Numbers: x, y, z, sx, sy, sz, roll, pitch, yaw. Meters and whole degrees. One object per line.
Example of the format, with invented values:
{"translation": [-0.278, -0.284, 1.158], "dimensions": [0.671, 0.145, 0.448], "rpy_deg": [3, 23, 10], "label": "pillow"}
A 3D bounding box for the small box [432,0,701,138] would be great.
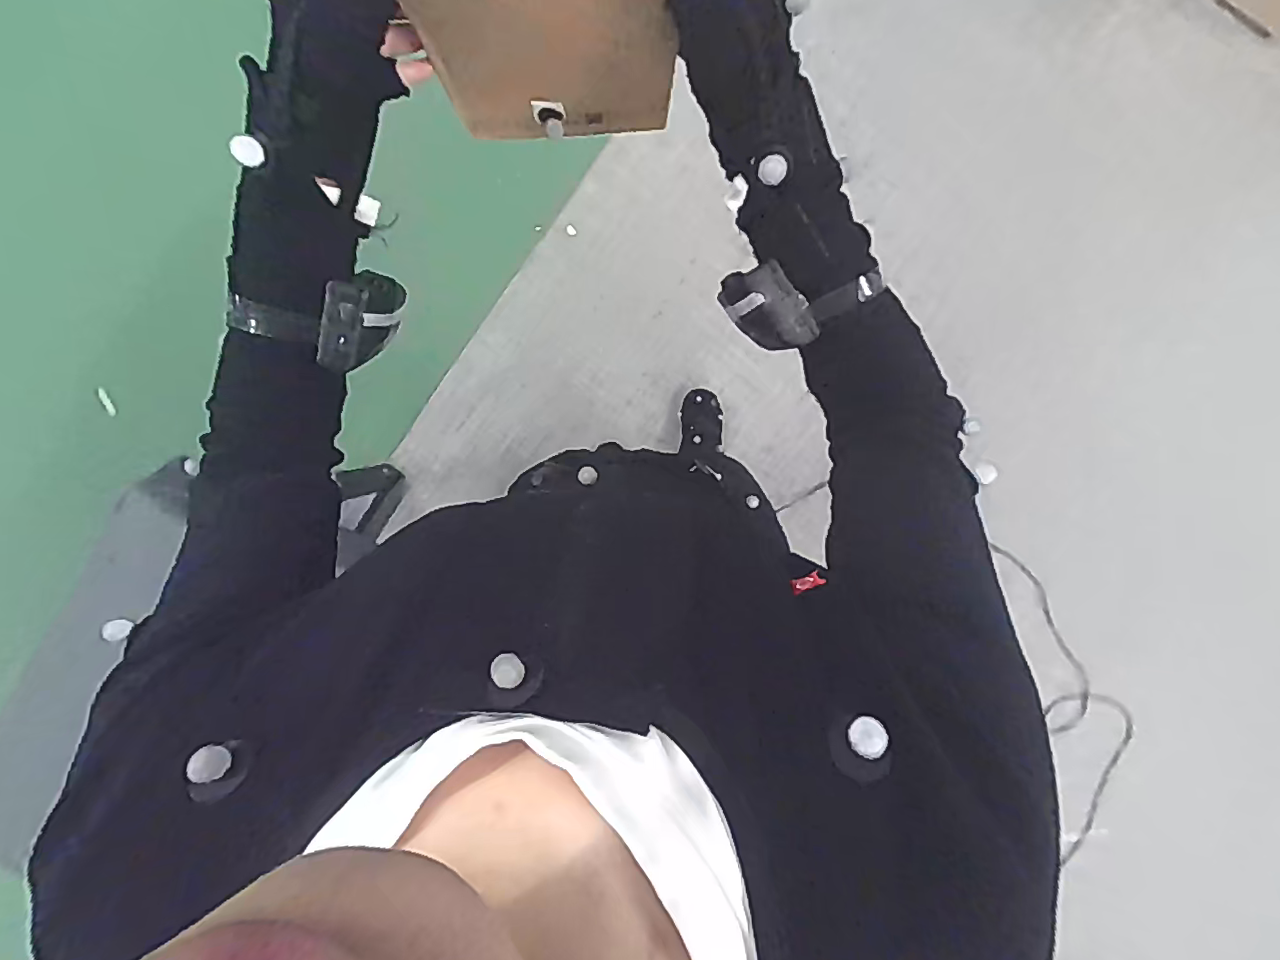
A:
{"translation": [-0.053, -0.370, 0.366], "dimensions": [0.168, 0.176, 0.179], "rpy_deg": [-6, 97, 0], "label": "small box"}
